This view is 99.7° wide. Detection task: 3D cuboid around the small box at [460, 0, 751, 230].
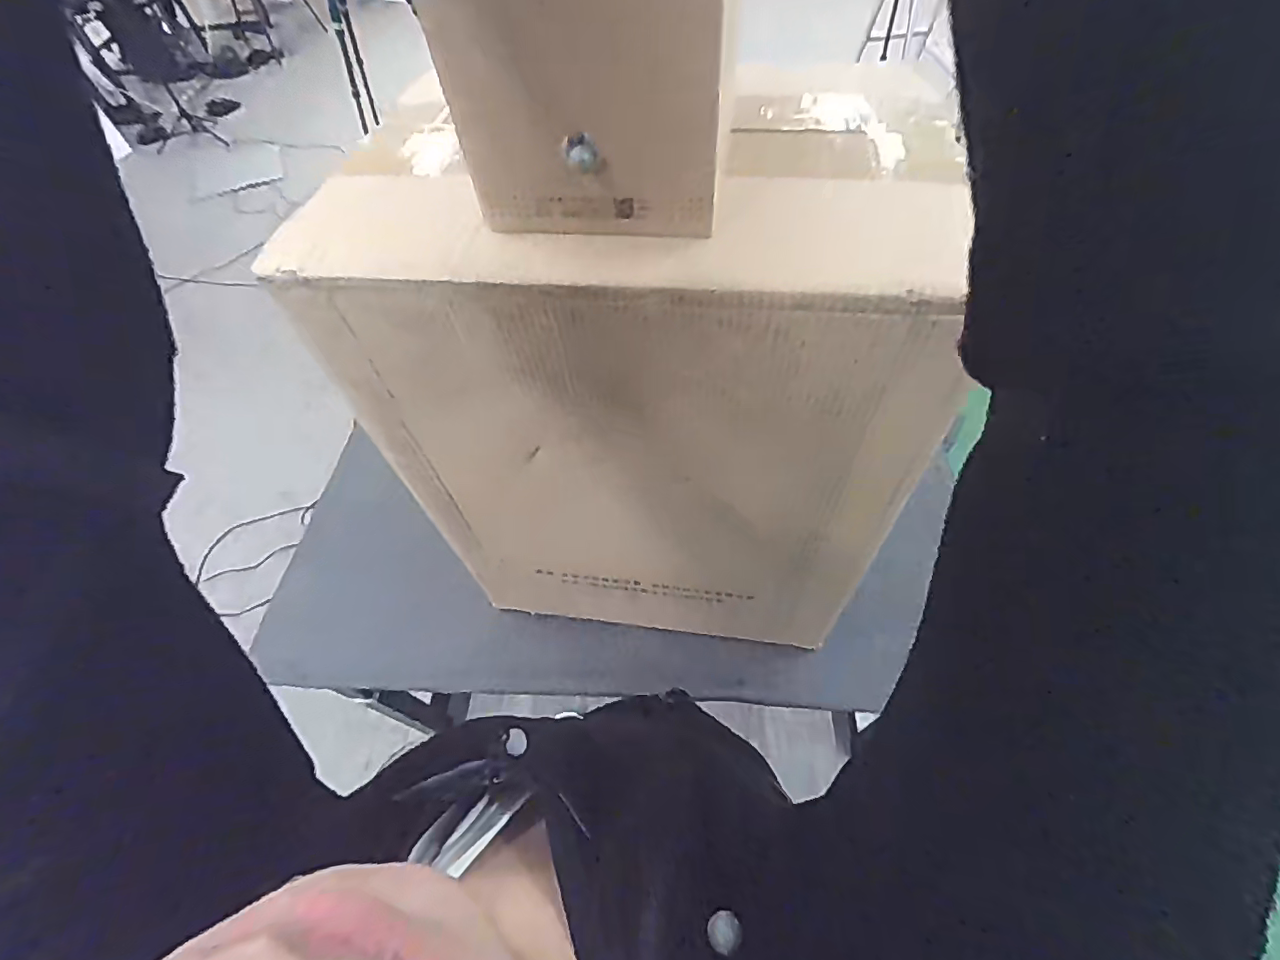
[{"bbox_3d":[-0.011,-0.300,0.369,0.168,0.176,0.179,5,57,8],"label":"small box"}]
